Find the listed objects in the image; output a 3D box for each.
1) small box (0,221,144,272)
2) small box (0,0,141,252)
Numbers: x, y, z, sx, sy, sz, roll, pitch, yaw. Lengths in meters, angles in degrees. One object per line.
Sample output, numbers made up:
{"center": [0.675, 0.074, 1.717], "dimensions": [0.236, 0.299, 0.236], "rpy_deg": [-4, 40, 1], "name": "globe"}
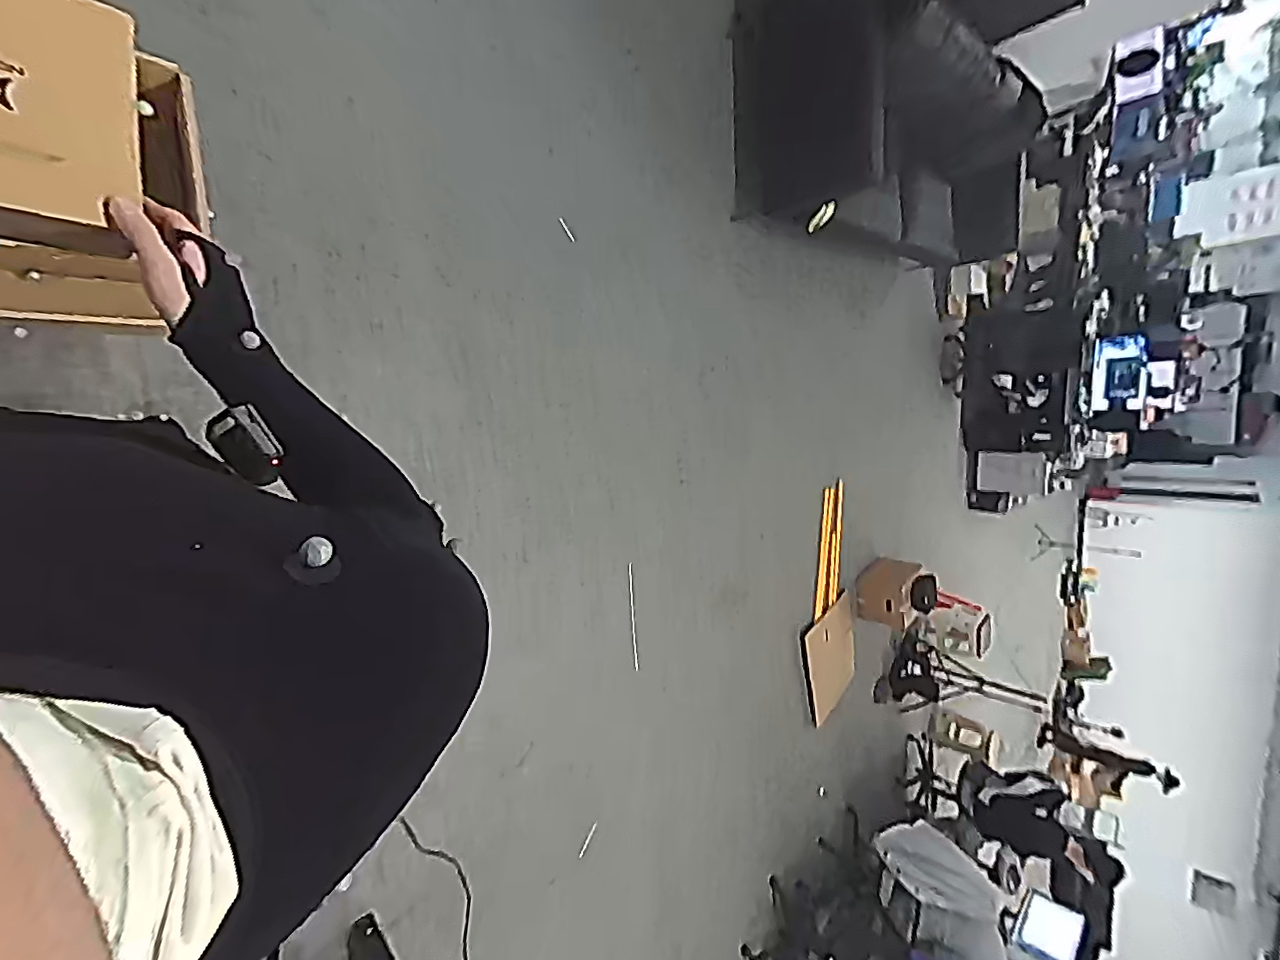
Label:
{"center": [-0.839, -0.413, 0.783], "dimensions": [0.168, 0.176, 0.179], "rpy_deg": [-10, 99, -43], "name": "small box"}
{"center": [-0.537, -0.308, 0.448], "dimensions": [0.168, 0.176, 0.179], "rpy_deg": [-4, 101, -47], "name": "small box"}
